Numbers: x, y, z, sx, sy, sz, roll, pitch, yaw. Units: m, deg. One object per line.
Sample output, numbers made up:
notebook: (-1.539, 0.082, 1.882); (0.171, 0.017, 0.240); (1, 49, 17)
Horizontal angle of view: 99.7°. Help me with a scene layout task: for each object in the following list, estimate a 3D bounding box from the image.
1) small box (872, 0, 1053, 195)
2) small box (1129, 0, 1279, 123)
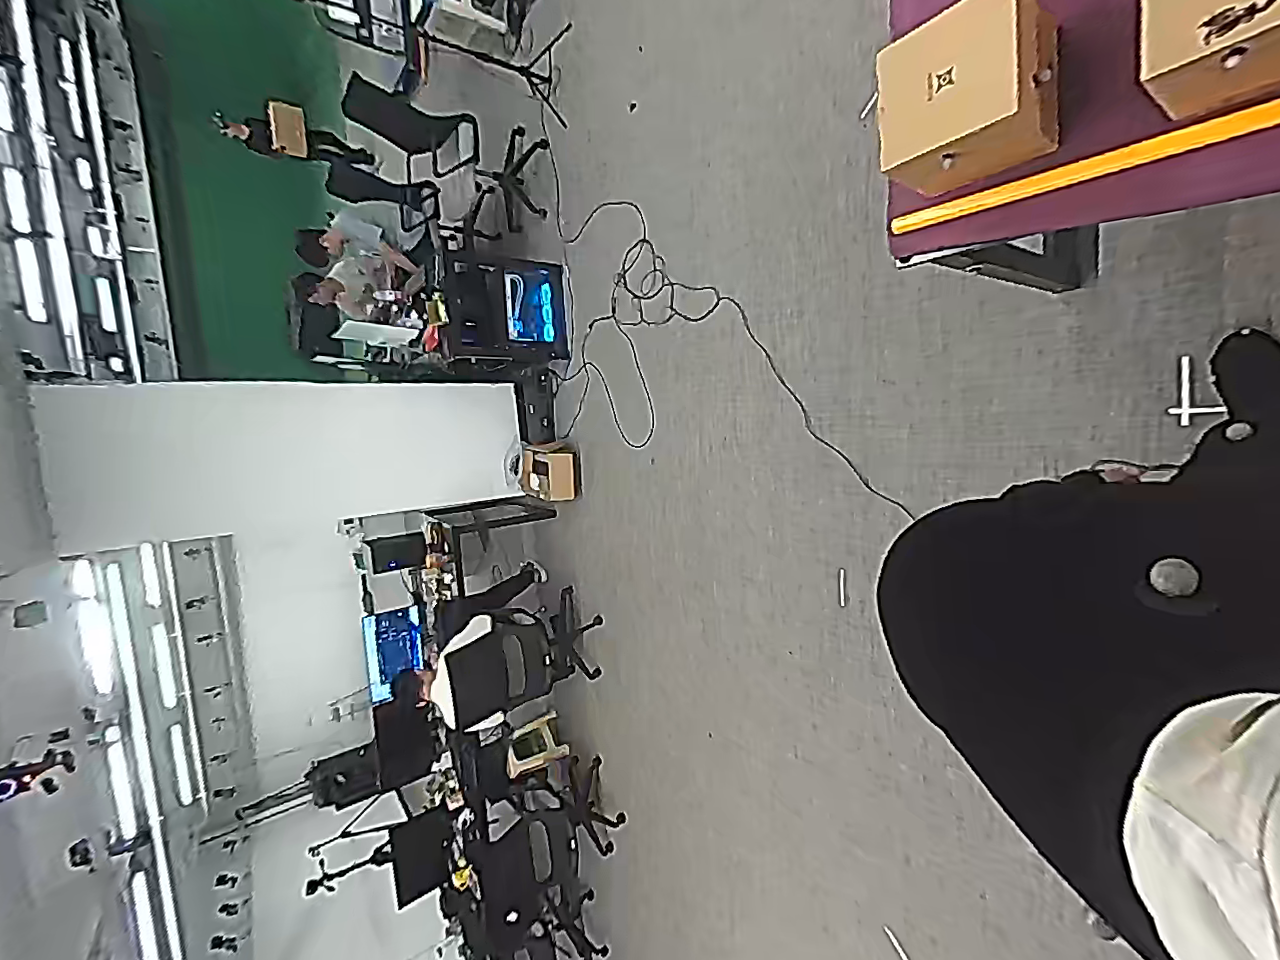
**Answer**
small box: (0.452, -0.527, 0.758); (0.179, 0.176, 0.168); (3, 98, 53)
small box: (0.618, -0.499, 0.534); (0.168, 0.176, 0.179); (5, 100, 54)
